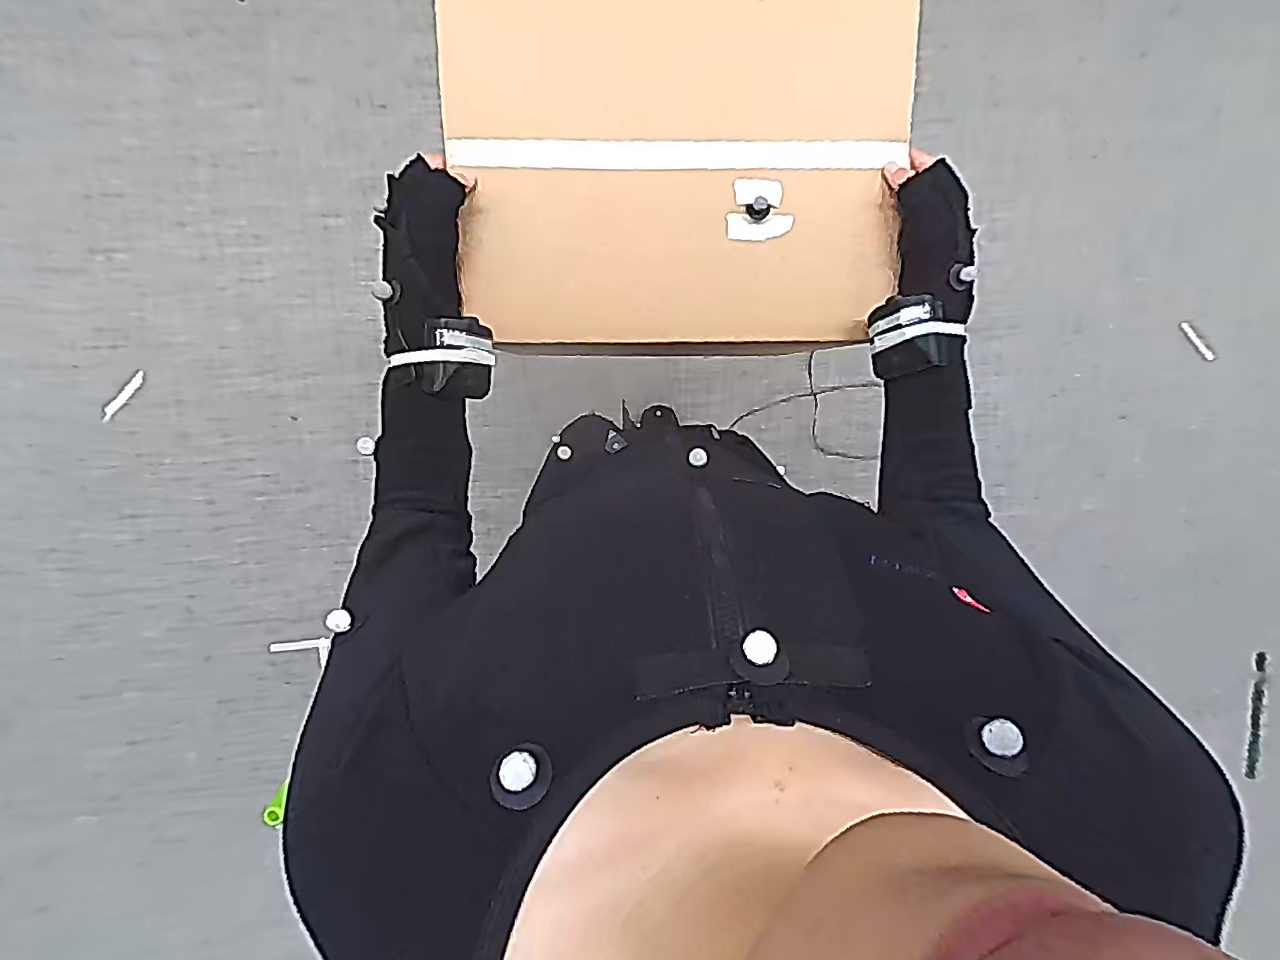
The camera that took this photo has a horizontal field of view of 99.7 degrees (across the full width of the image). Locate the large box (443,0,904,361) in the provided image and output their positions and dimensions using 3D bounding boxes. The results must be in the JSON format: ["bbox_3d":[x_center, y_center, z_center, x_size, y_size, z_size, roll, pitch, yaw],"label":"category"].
[{"bbox_3d":[0.026,-0.308,0.627,0.408,0.320,0.320,-2,101,-4],"label":"large box"}]
